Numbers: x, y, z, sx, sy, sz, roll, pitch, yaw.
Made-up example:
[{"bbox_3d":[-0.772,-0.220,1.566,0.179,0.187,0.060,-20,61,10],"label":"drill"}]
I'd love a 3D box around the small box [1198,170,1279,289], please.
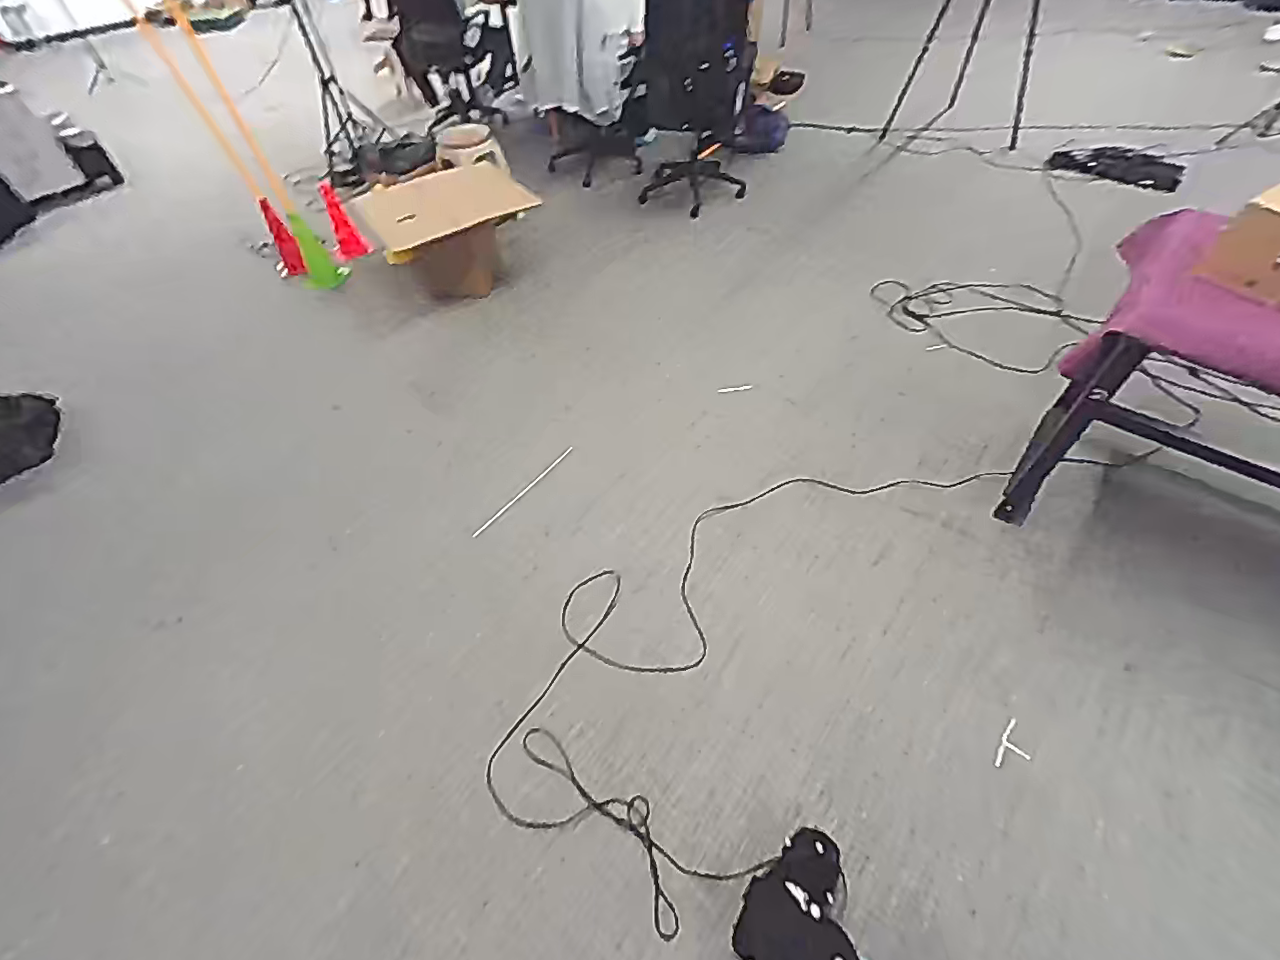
[{"bbox_3d":[1.363,-0.532,1.147,0.179,0.176,0.168,-26,55,-17],"label":"small box"}]
